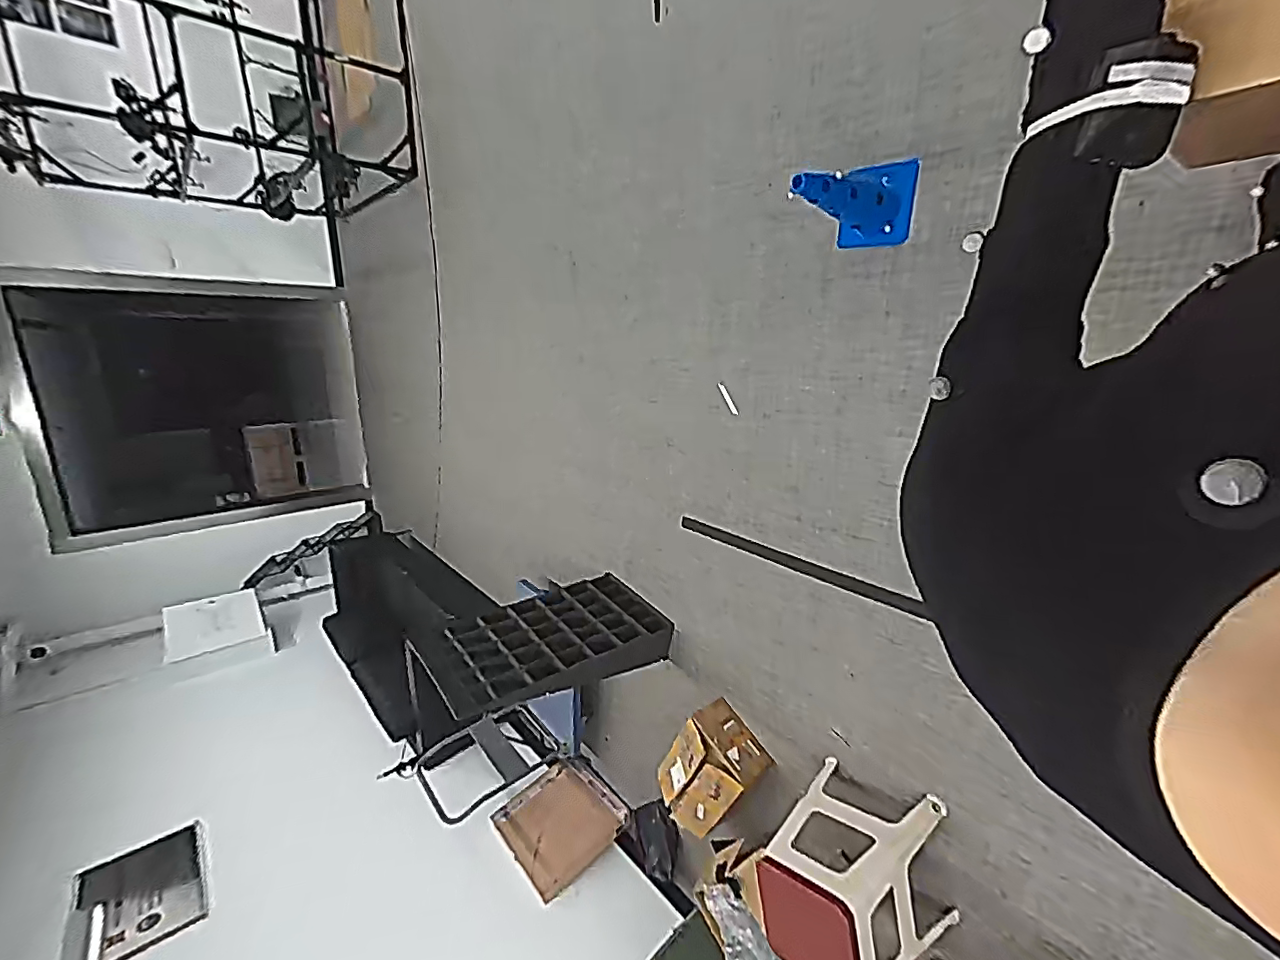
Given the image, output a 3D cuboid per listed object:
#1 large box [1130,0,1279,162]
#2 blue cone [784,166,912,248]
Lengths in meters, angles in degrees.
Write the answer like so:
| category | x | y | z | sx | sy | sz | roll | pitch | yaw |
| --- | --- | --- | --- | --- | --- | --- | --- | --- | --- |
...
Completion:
| category | x | y | z | sx | sy | sz | roll | pitch | yaw |
| --- | --- | --- | --- | --- | --- | --- | --- | --- | --- |
| large box | 0.579 | -0.421 | 0.299 | 0.408 | 0.320 | 0.320 | 13 | 113 | 46 |
| blue cone | 0.496 | -0.702 | 1.344 | 0.192 | 0.380 | 0.193 | 23 | 116 | 47 |
